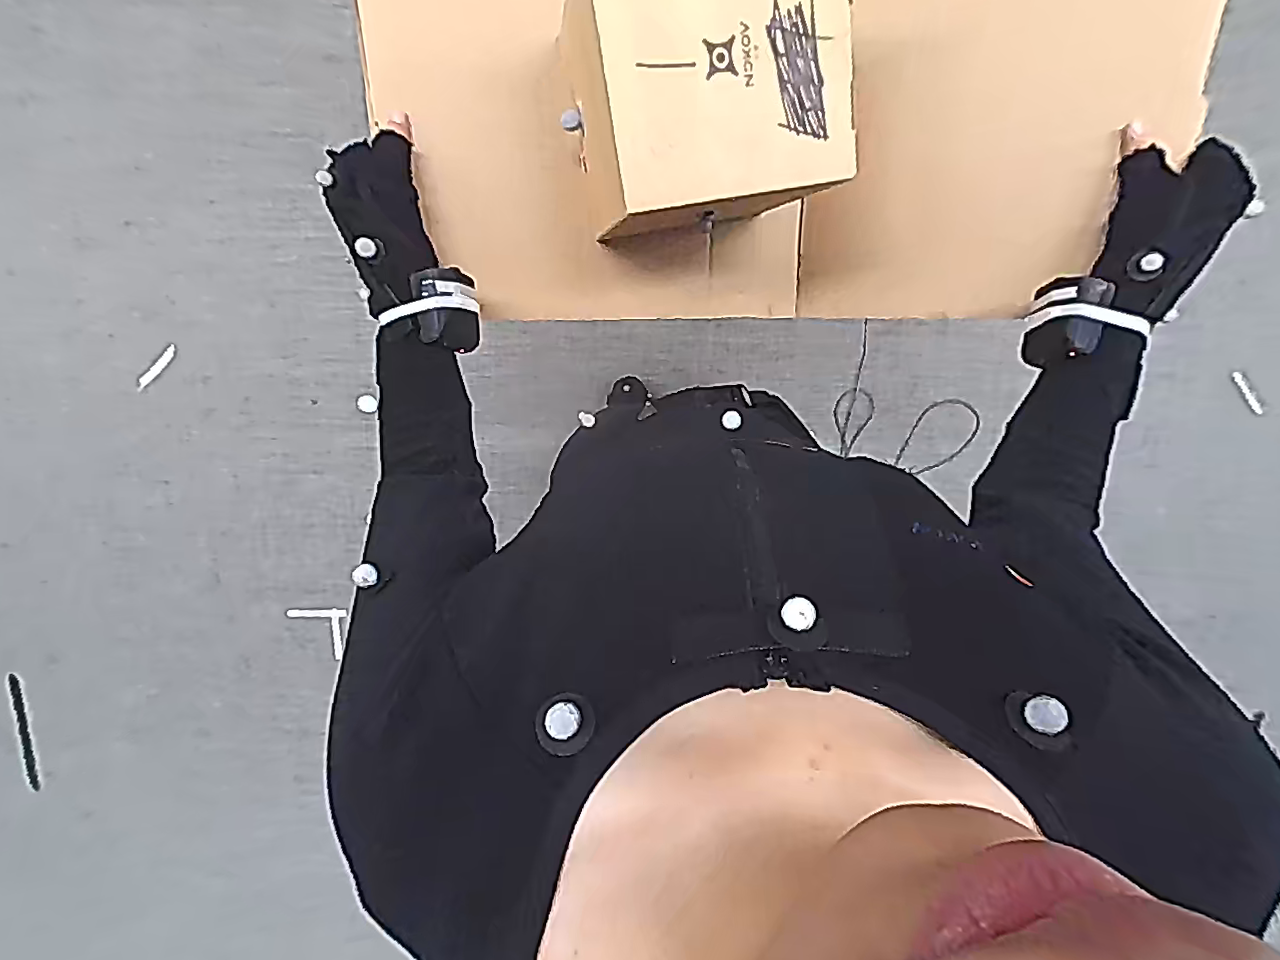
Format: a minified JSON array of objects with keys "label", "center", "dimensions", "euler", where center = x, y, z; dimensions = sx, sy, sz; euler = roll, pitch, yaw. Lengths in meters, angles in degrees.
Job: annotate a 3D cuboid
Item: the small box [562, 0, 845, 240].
[{"label":"small box","center":[0.042,-0.302,0.441],"dimensions":[0.179,0.176,0.168],"euler":[-13,110,-8]}]
